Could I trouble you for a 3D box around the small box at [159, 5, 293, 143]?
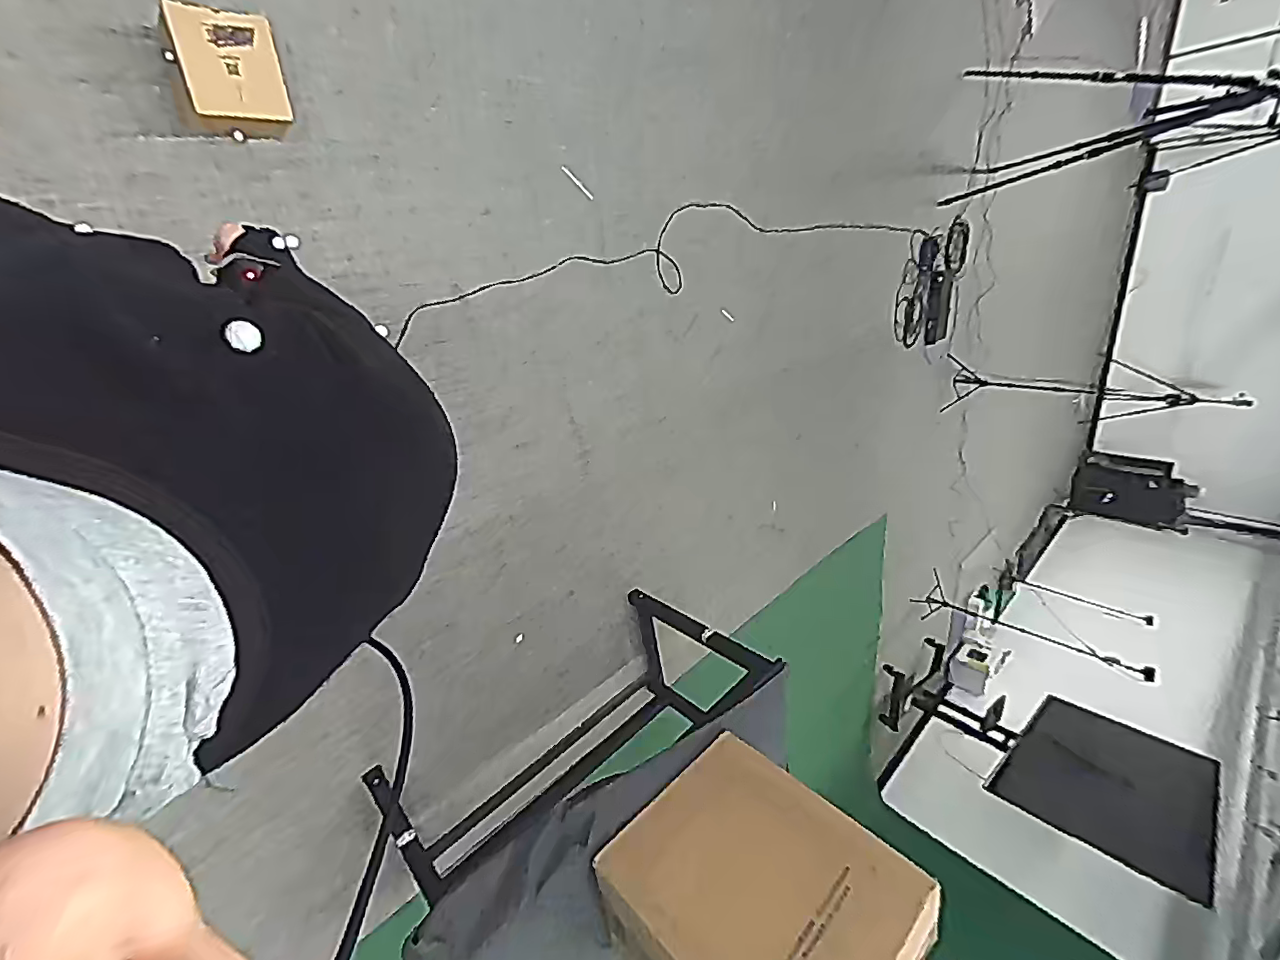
[{"bbox_3d":[-0.832,-0.799,1.084,0.168,0.176,0.179,-23,118,-36],"label":"small box"}]
